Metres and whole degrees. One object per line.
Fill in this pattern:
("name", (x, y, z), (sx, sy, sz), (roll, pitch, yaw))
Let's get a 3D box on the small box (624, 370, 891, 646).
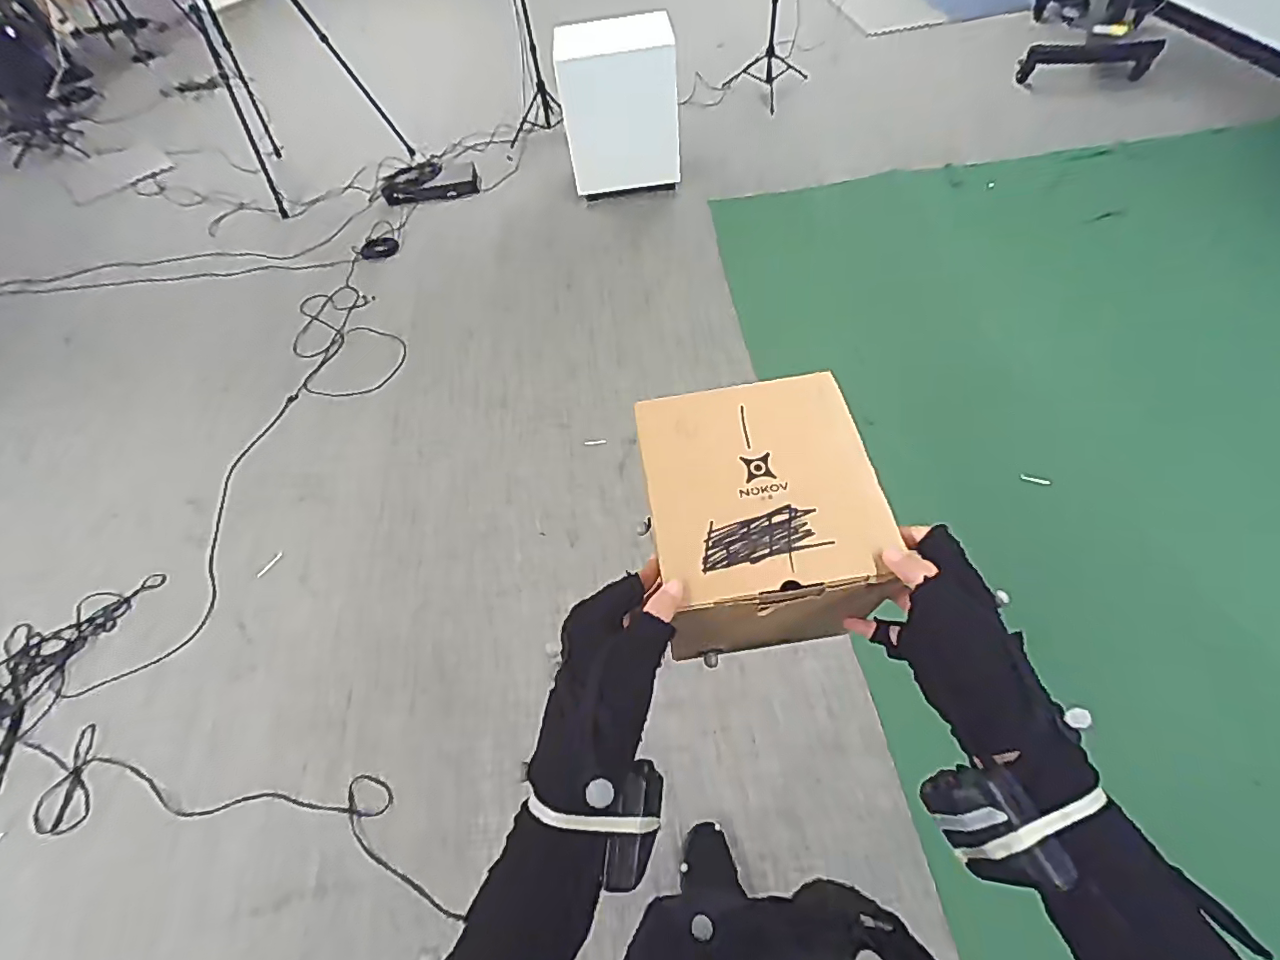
("small box", (0.084, 0.036, 0.467), (0.168, 0.176, 0.179), (-9, 60, 0))
